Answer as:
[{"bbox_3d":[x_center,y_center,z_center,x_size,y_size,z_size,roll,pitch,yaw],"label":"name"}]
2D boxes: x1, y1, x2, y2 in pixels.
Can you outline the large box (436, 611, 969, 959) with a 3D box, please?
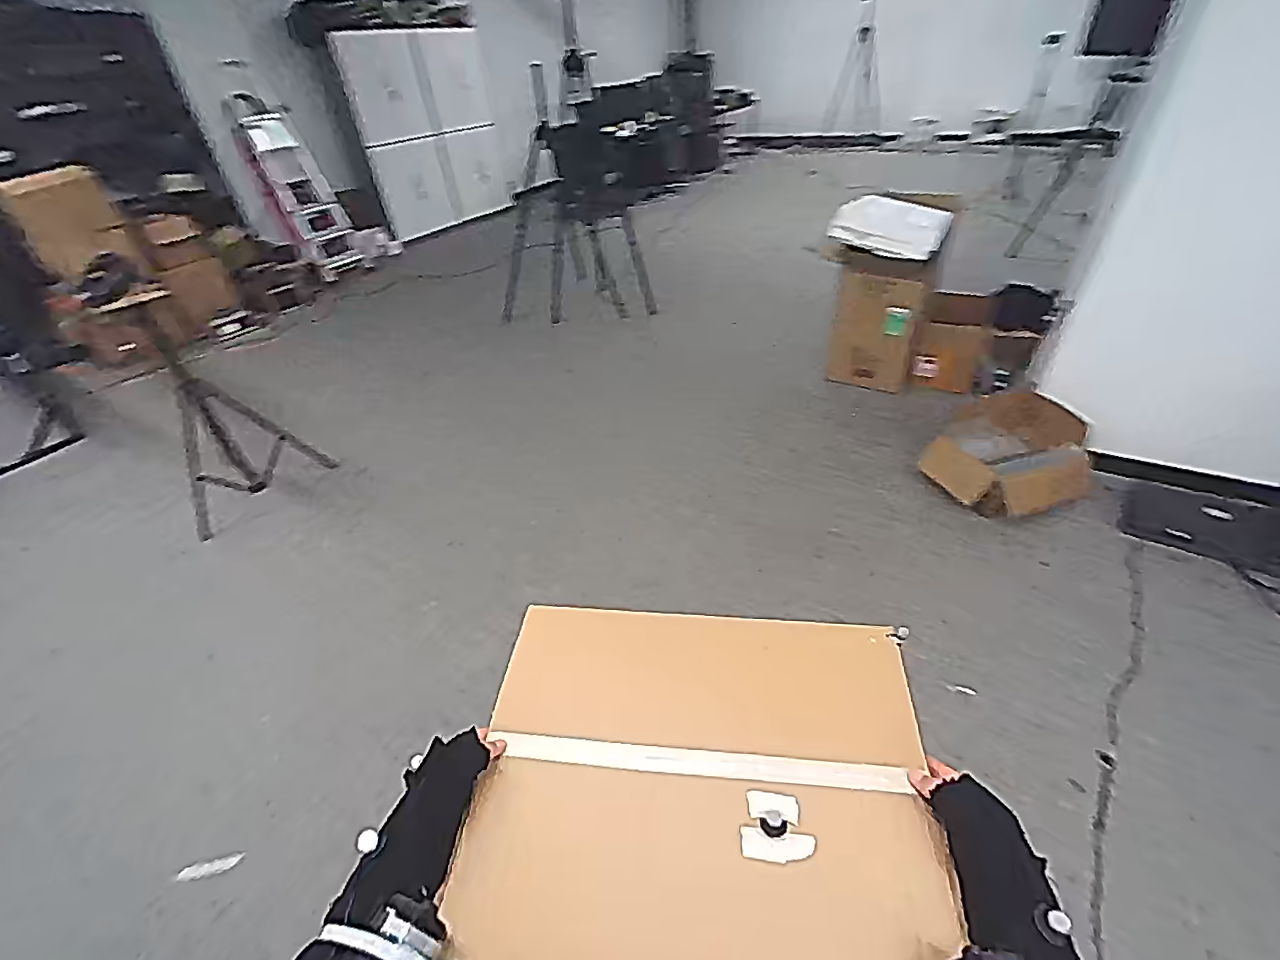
[{"bbox_3d":[0.060,0.370,0.600,0.408,0.320,0.320,2,43,7],"label":"large box"}]
